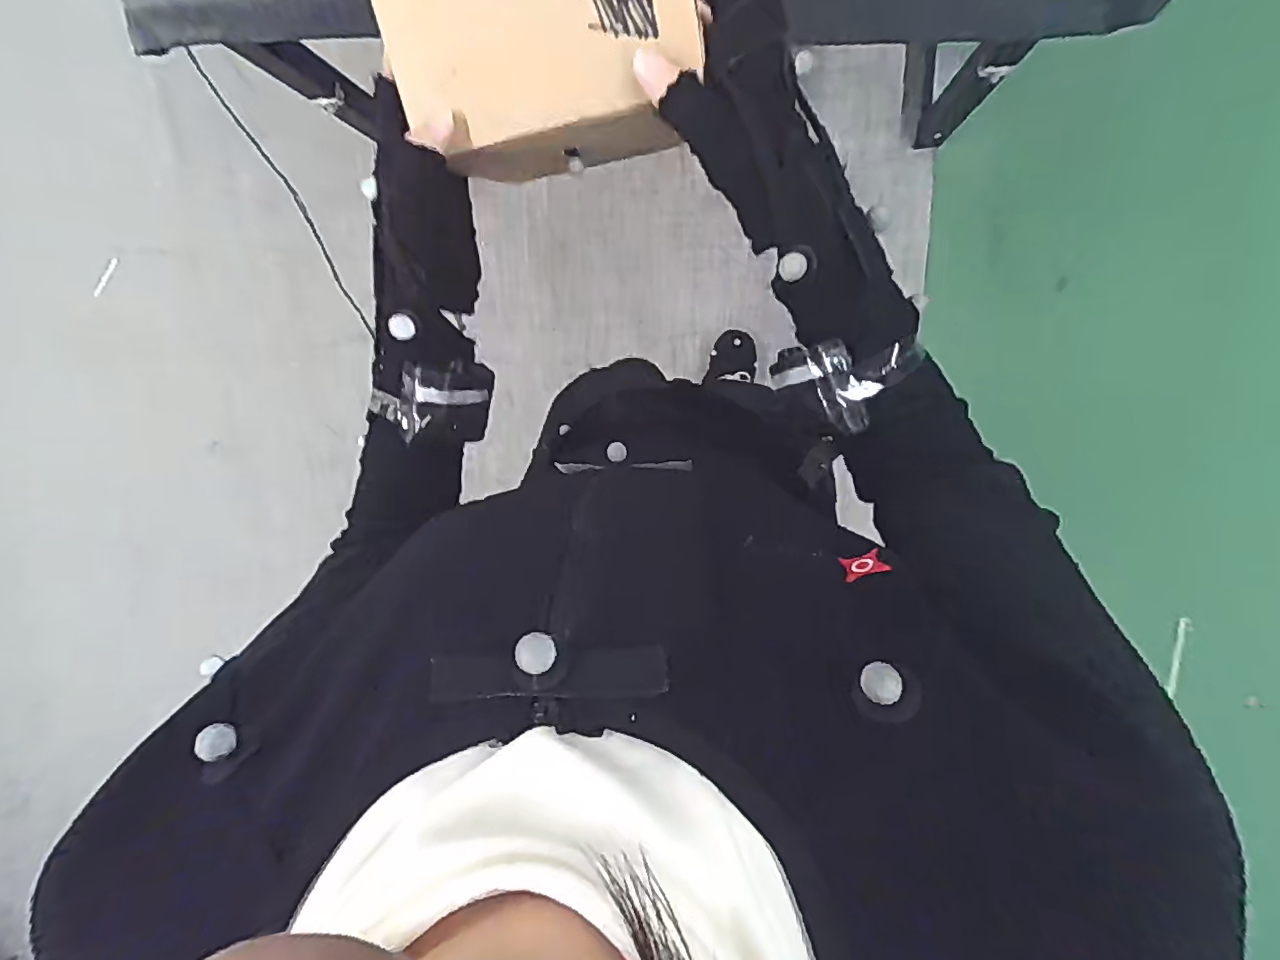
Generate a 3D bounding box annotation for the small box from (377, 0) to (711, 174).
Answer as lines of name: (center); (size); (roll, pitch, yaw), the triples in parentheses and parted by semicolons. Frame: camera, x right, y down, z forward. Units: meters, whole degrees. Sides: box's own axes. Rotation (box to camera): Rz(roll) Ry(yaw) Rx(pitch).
small box: (-0.052, -0.312, 0.349); (0.179, 0.176, 0.168); (-7, 113, 11)
